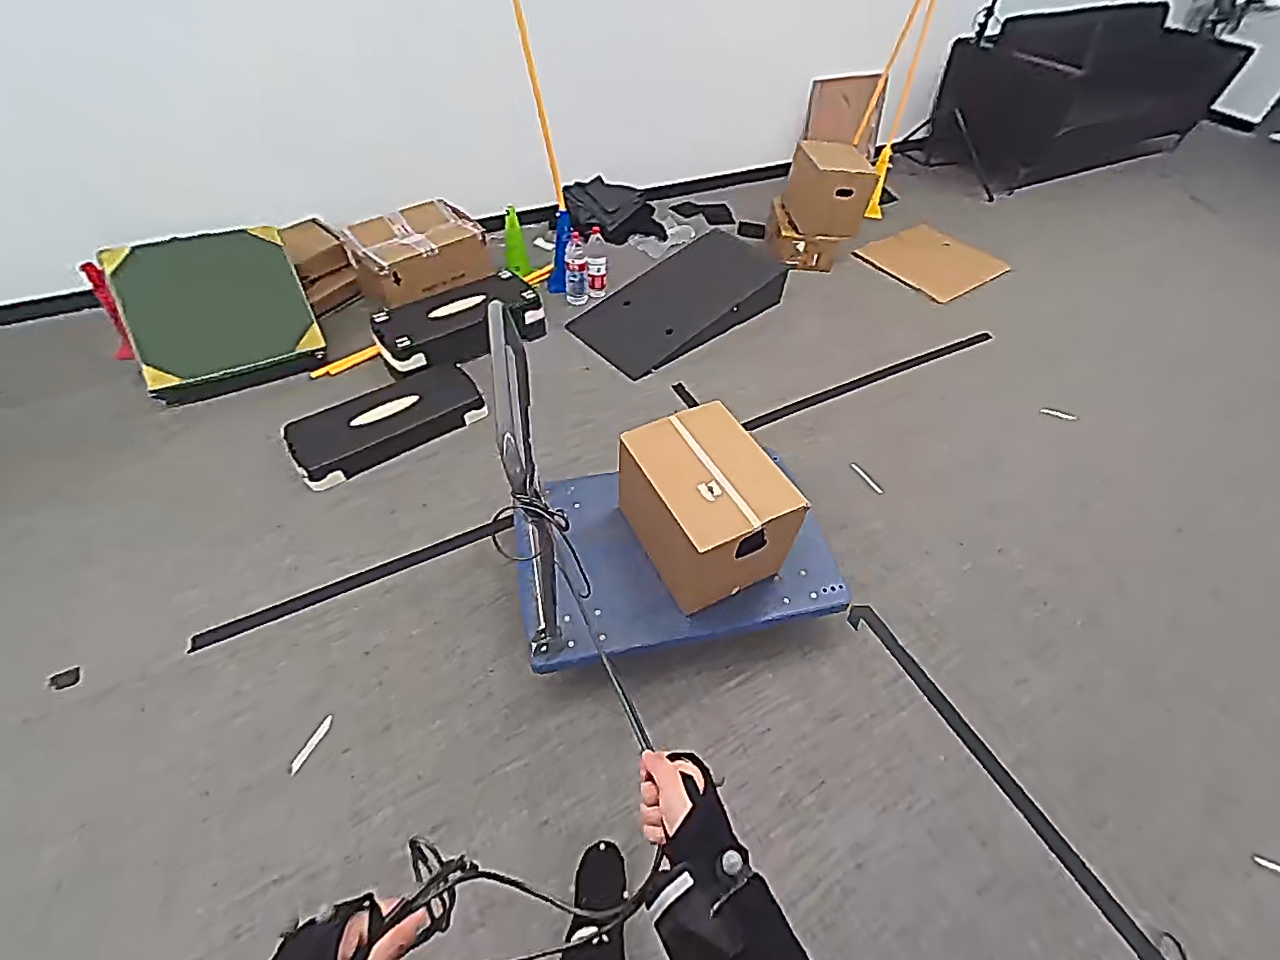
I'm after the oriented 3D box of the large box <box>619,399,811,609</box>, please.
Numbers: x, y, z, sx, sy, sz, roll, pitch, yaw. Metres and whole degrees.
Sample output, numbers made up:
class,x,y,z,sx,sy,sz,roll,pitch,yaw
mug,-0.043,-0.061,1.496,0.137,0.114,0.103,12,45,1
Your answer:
class,x,y,z,sx,sy,sz,roll,pitch,yaw
large box,0.169,0.058,1.441,0.320,0.320,0.408,-21,56,-18
